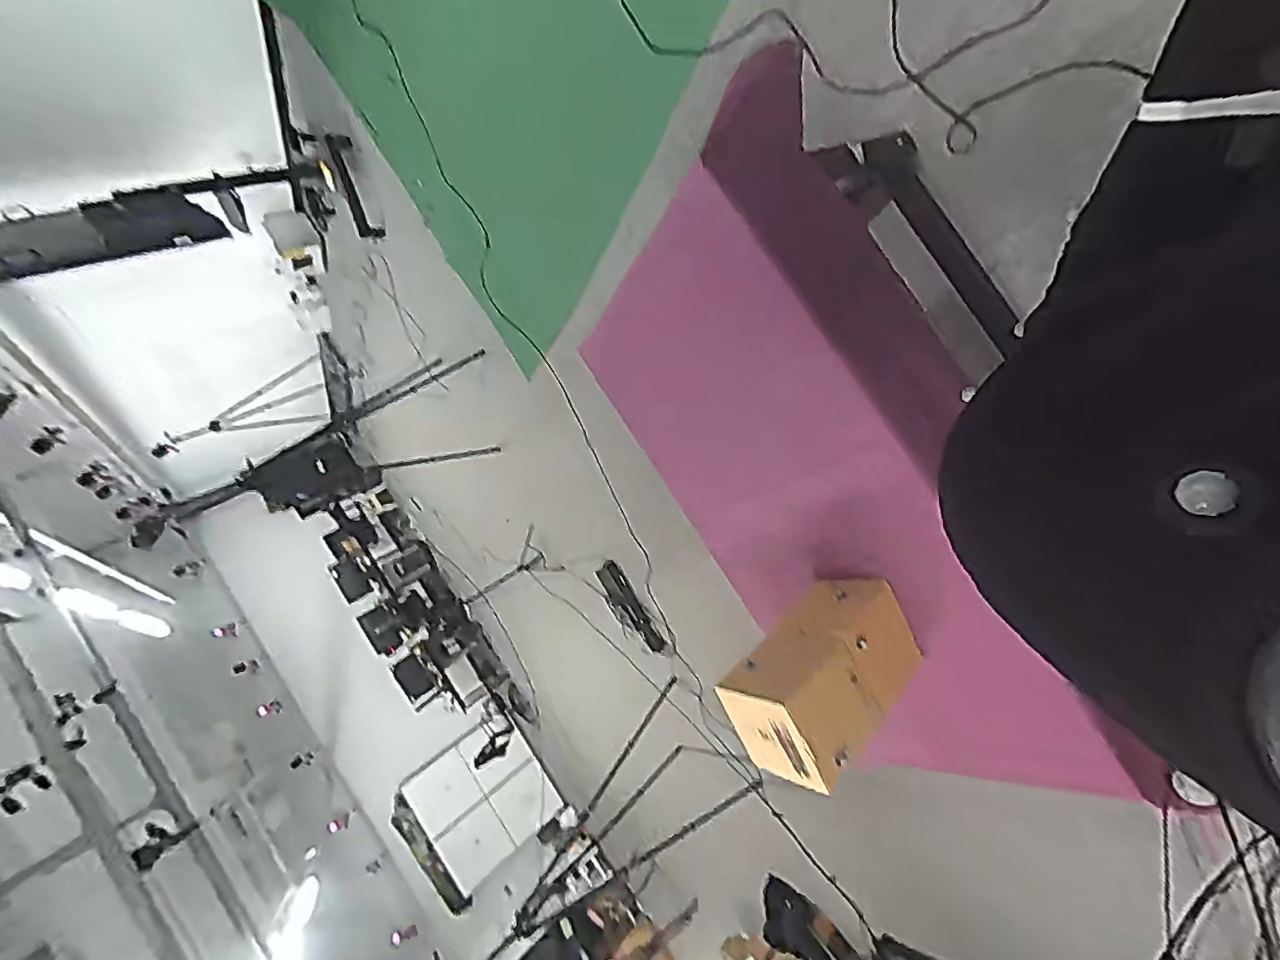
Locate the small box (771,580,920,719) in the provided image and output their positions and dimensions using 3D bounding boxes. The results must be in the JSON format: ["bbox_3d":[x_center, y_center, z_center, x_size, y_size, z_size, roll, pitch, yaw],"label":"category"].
[{"bbox_3d":[0.386,0.306,1.010,0.168,0.176,0.179,-18,100,57],"label":"small box"}]
